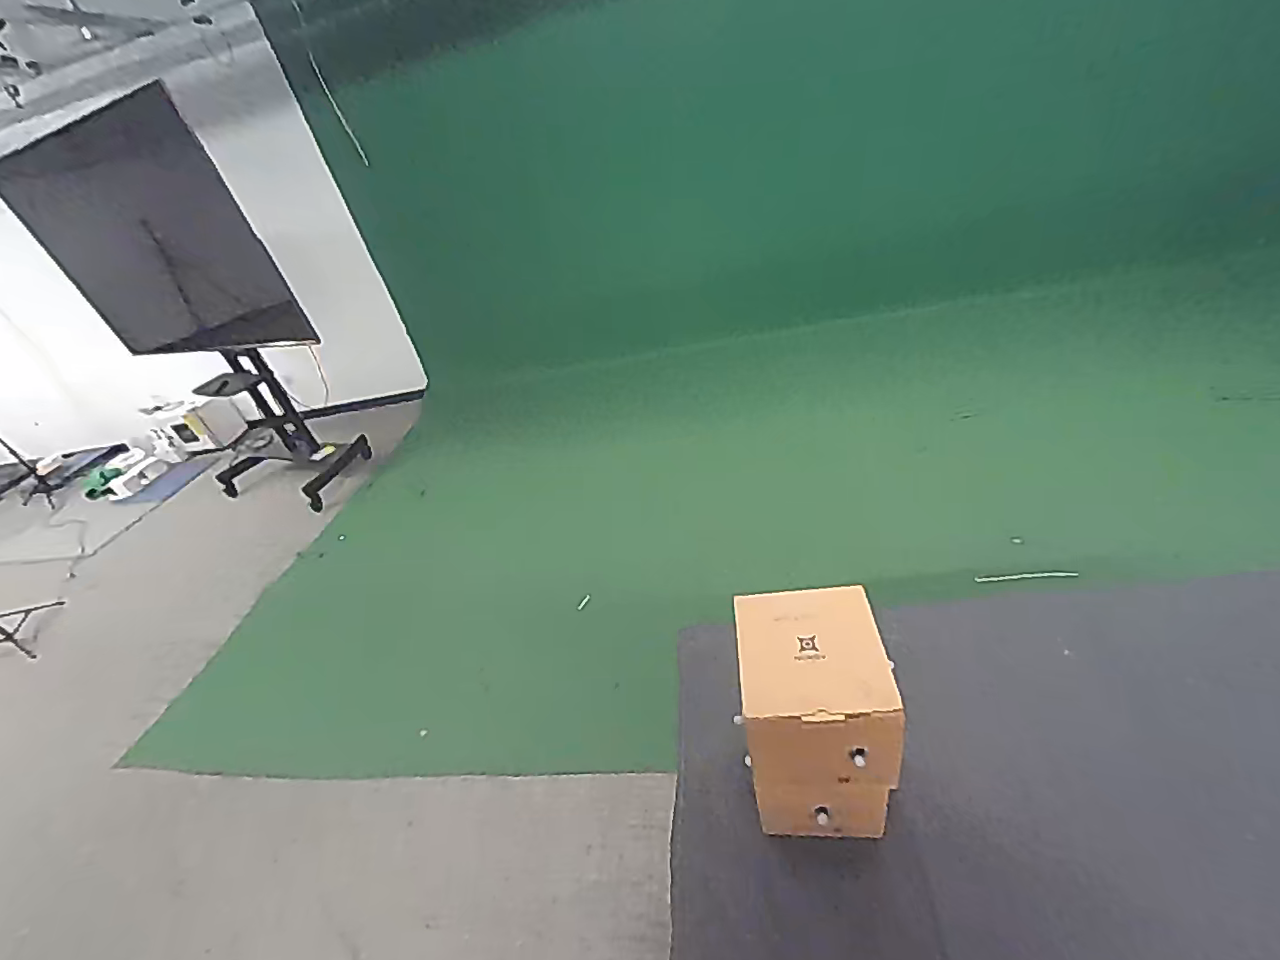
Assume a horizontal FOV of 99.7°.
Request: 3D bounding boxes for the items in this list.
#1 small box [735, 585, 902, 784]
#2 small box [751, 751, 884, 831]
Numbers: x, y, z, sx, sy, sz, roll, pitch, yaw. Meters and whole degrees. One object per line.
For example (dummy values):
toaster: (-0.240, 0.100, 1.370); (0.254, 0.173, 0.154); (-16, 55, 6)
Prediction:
small box: (0.215, 0.259, 0.679); (0.168, 0.176, 0.179); (-7, 34, 10)
small box: (0.249, 0.381, 0.783); (0.168, 0.176, 0.179); (-6, 36, 12)
